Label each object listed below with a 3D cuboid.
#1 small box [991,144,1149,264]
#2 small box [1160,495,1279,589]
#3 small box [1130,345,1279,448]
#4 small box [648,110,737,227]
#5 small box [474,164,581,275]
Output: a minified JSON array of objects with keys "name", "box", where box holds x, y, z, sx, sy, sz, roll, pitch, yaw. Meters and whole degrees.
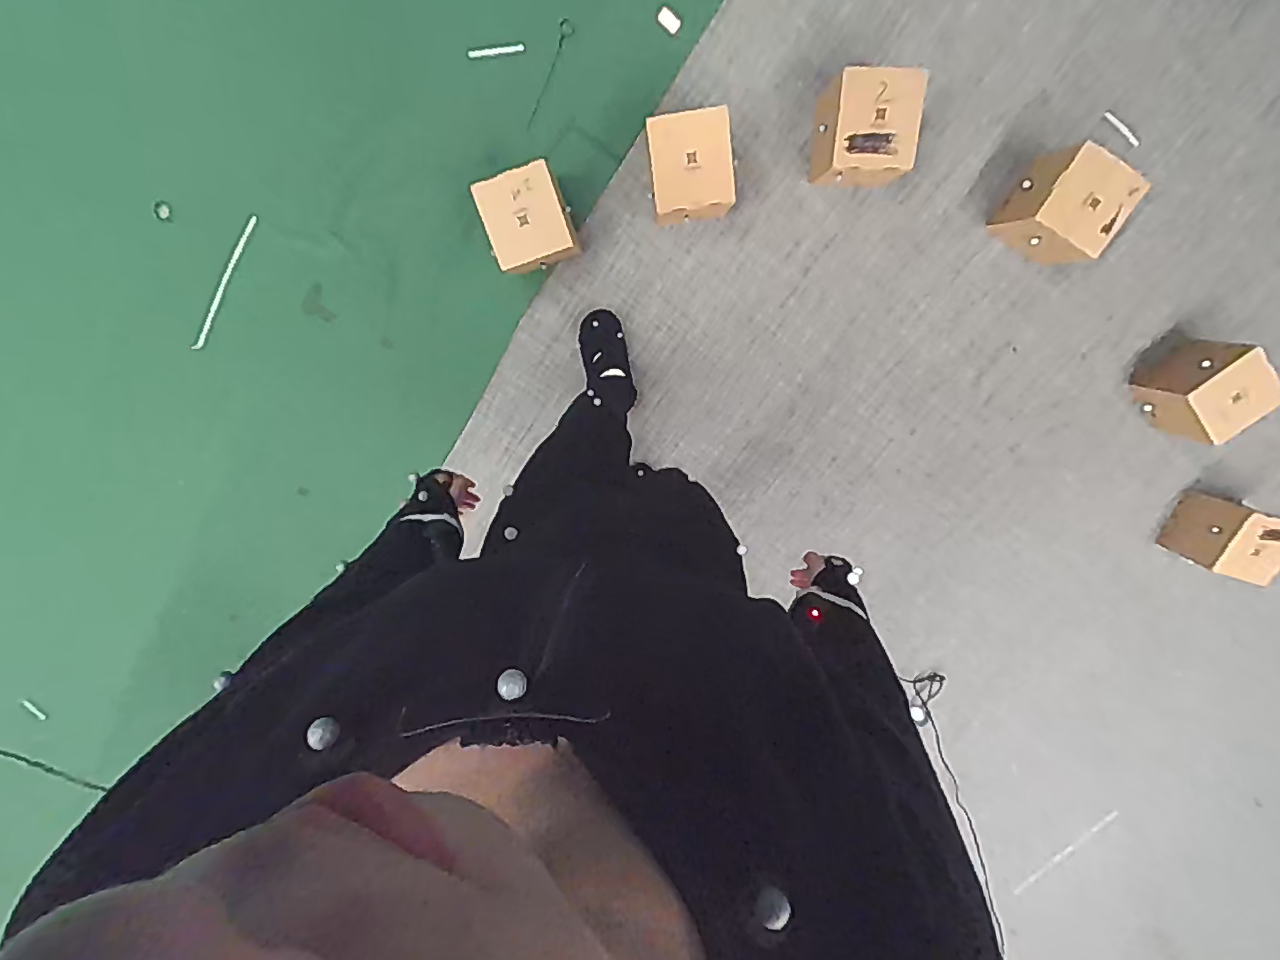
[{"name":"small box","box":[0.931,-0.593,1.192,0.179,0.176,0.168,27,107,-8]},{"name":"small box","box":[1.565,0.159,1.441,0.168,0.176,0.179,16,108,-4]},{"name":"small box","box":[1.374,-0.210,1.319,0.179,0.176,0.168,-40,103,12]},{"name":"small box","box":[0.109,-0.666,1.173,0.168,0.176,0.179,-8,108,3]},{"name":"small box","box":[-0.239,-0.567,1.203,0.168,0.176,0.179,-17,107,5]}]
